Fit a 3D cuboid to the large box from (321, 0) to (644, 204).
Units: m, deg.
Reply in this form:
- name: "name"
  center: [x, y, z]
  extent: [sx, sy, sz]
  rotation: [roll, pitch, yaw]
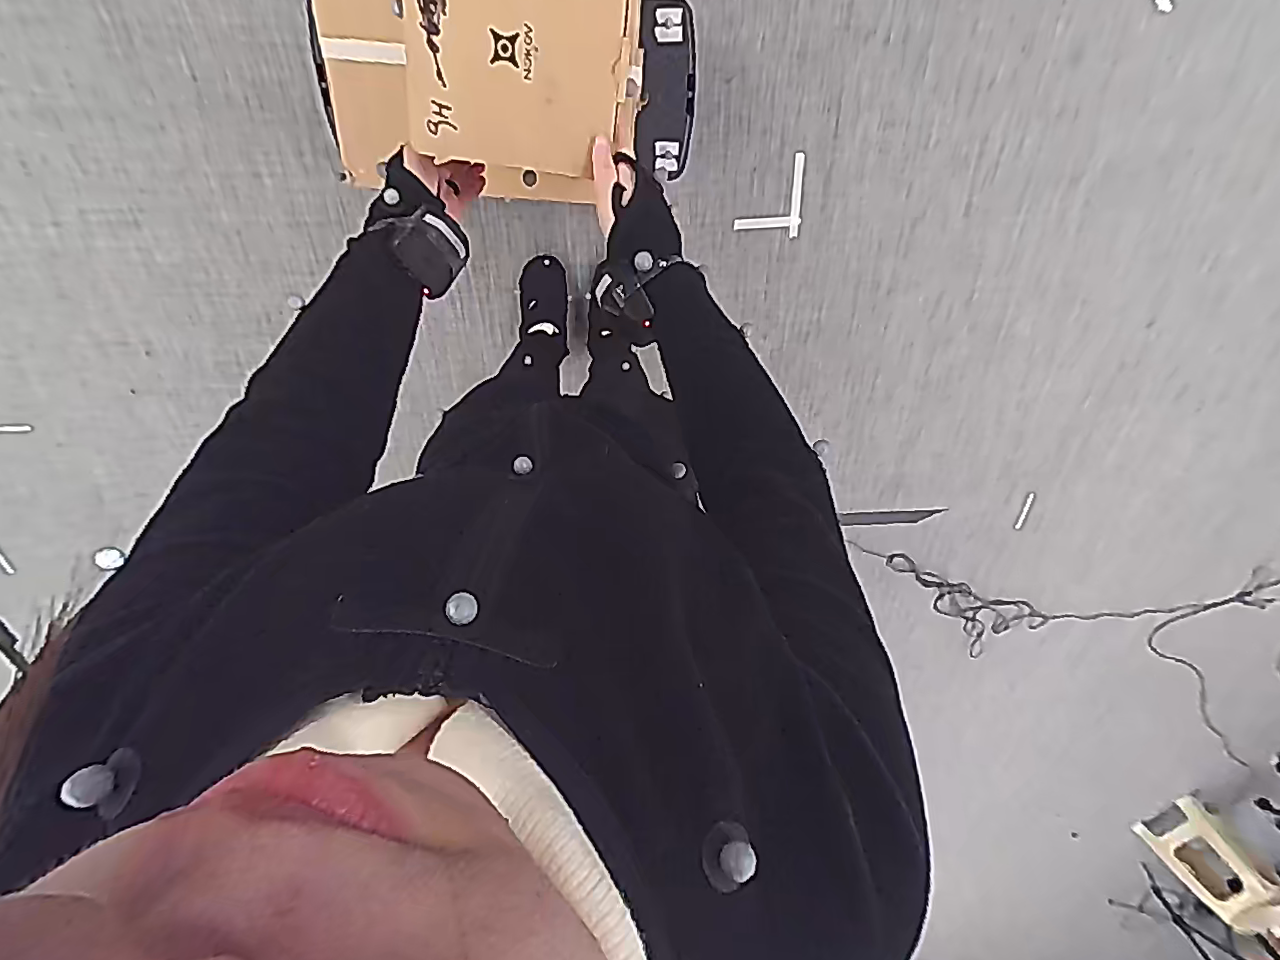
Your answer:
- name: "large box"
  center: [-0.203, -0.616, 0.827]
  extent: [0.408, 0.320, 0.320]
  rotation: [2, 119, -4]

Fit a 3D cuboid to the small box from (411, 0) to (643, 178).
- name: "small box"
  center: [-0.096, -0.385, 0.494]
  extent: [0.179, 0.176, 0.168]
  rotation: [5, 119, -7]

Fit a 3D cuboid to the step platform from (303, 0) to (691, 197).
- name: "step platform"
  center: [-0.245, -0.732, 1.032]
  extent: [0.684, 0.204, 0.286]
  rotation: [3, 120, -6]
